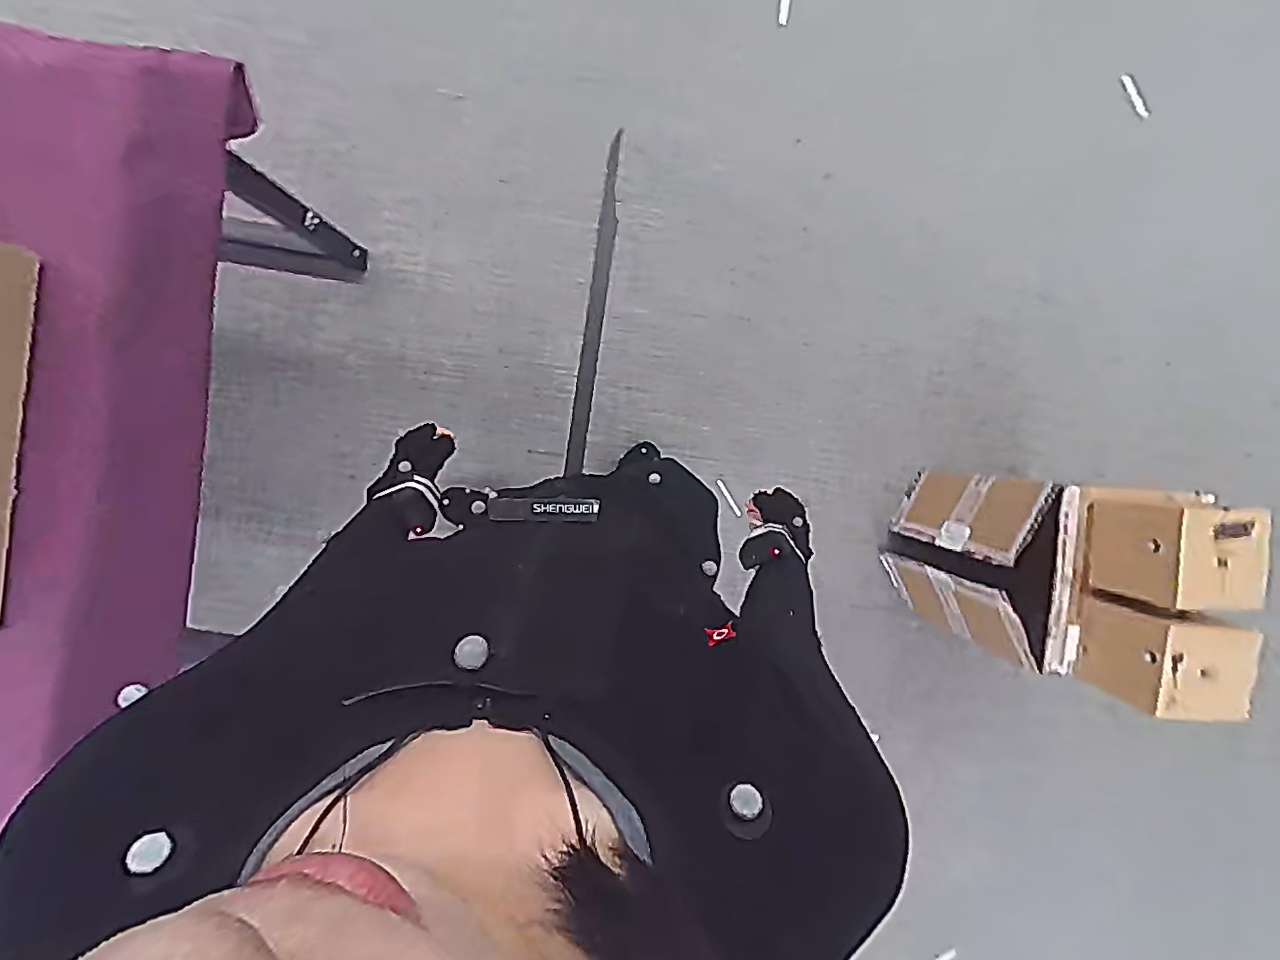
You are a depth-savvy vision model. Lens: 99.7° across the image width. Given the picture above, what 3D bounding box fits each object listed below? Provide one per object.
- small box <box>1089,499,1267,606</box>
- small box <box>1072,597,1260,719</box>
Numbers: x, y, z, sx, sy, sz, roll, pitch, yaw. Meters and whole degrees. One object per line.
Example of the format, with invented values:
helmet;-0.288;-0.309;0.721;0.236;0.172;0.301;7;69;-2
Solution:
small box;0.976;0.126;0.995;0.168;0.176;0.179;1;92;-4
small box;0.967;0.324;1.008;0.179;0.176;0.168;4;95;-5
